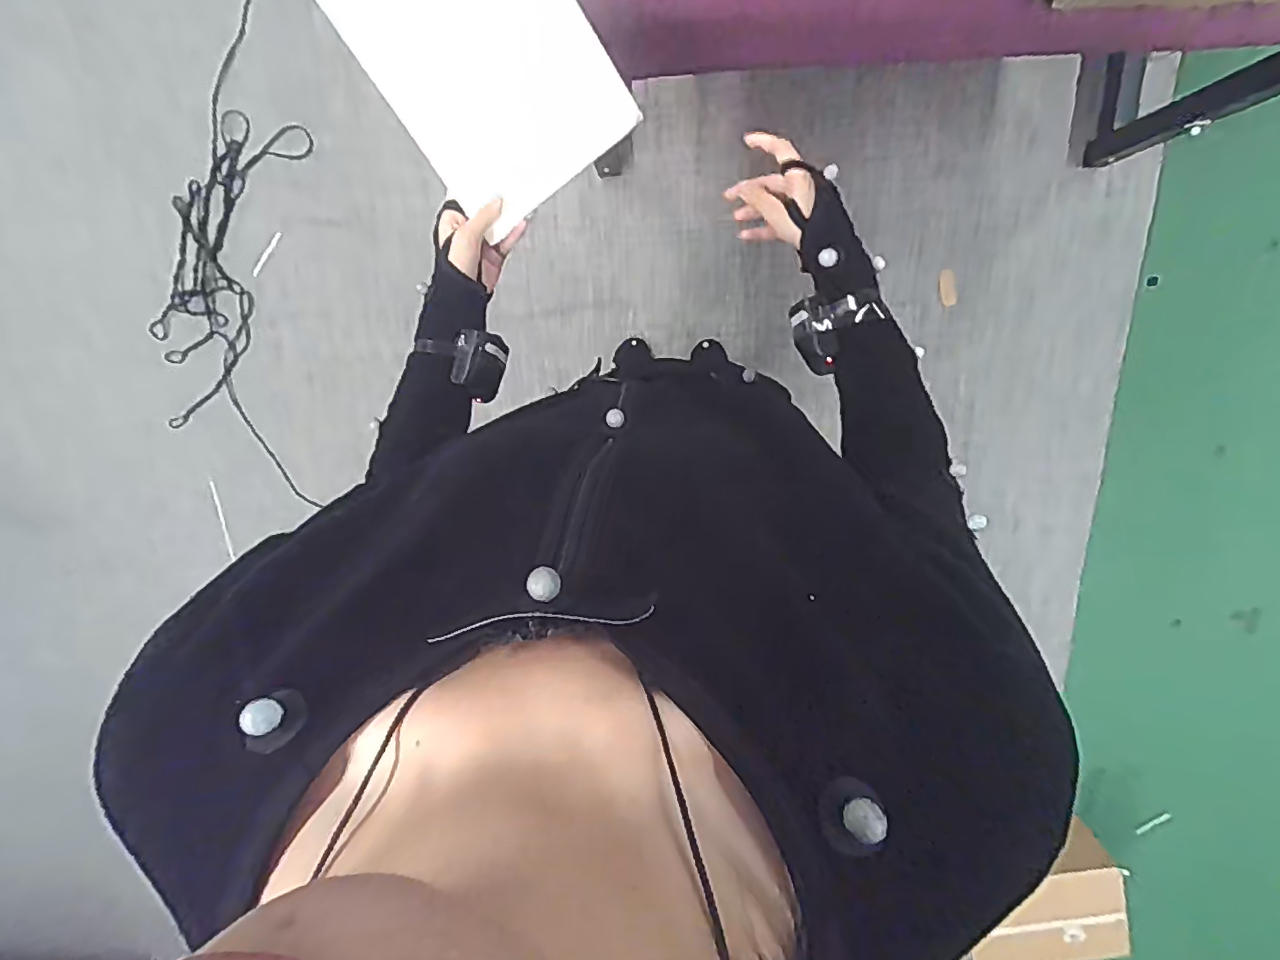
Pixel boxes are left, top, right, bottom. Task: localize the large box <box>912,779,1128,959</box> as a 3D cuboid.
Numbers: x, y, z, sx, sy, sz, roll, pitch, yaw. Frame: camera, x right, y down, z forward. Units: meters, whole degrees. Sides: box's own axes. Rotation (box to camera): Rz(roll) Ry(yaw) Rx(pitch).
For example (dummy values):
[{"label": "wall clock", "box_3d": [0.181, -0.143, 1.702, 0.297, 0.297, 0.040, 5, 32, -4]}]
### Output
[{"label": "large box", "box_3d": [1.081, 1.144, 1.579, 0.408, 0.320, 0.320, -14, 103, 6]}]
